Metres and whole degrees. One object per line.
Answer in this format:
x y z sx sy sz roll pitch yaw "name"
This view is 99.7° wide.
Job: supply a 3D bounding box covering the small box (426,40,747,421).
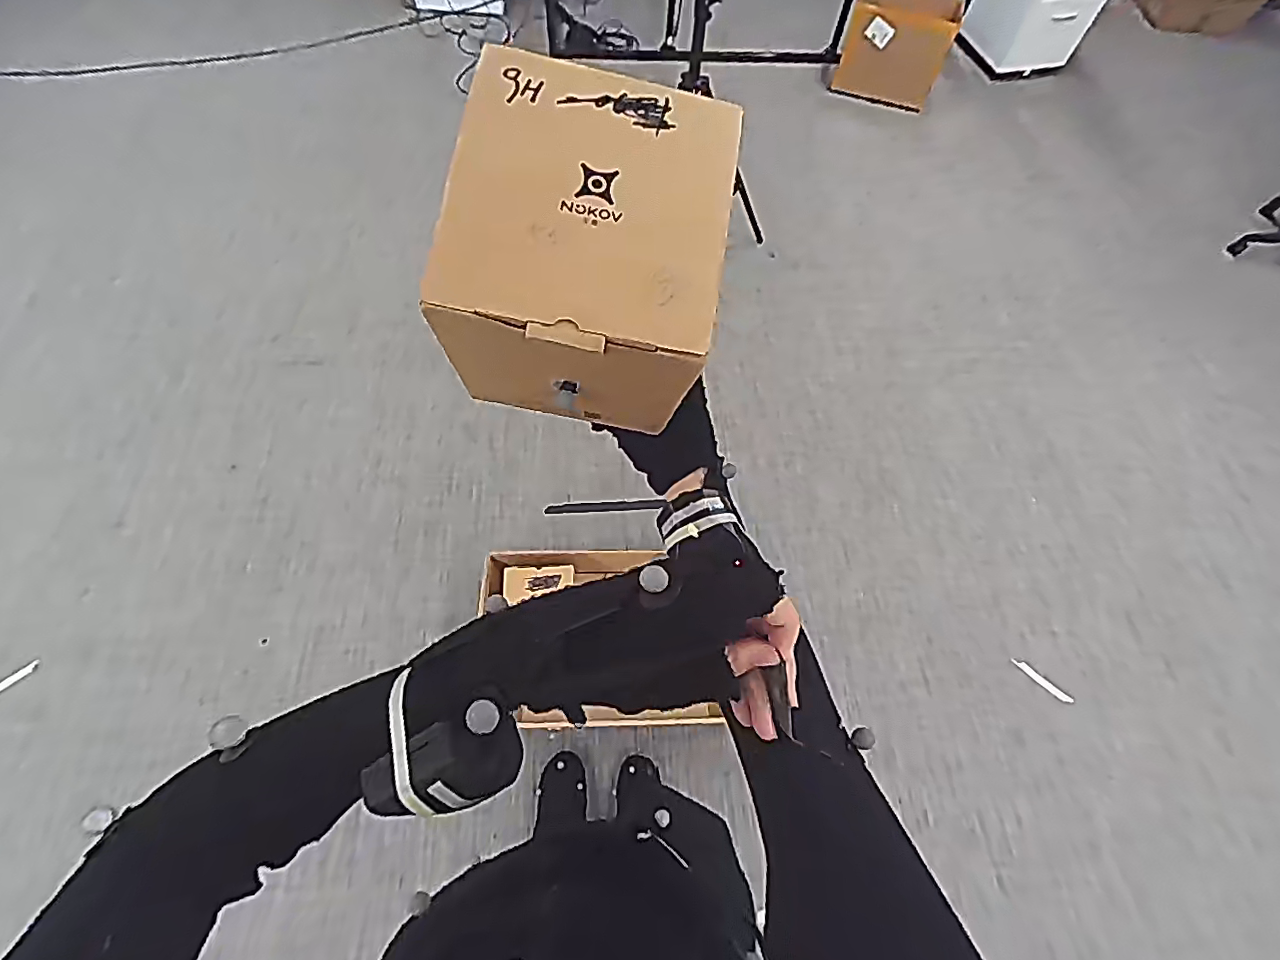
-0.035 -0.155 0.396 0.168 0.176 0.179 10 80 -5 "small box"
